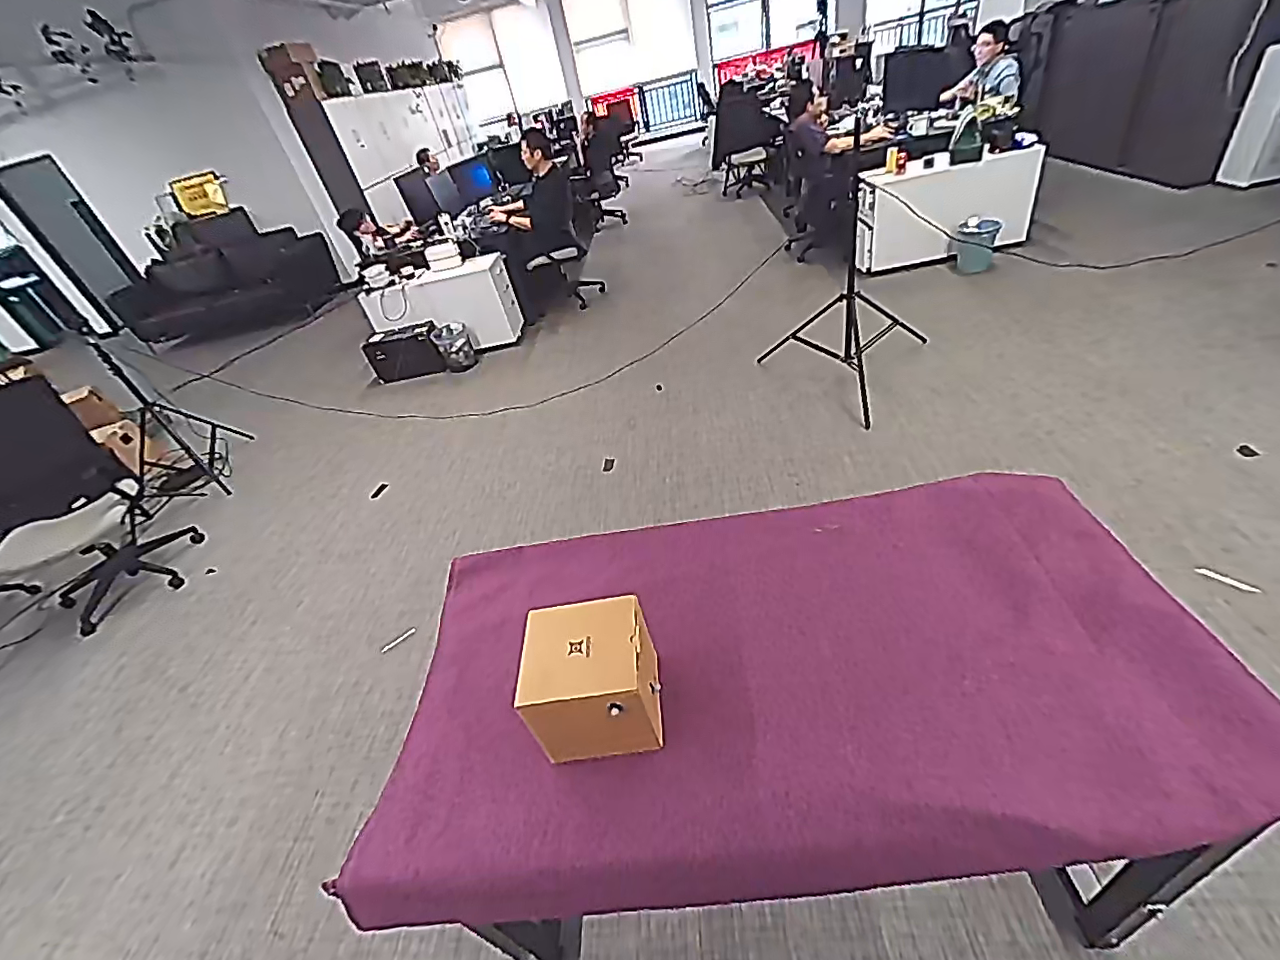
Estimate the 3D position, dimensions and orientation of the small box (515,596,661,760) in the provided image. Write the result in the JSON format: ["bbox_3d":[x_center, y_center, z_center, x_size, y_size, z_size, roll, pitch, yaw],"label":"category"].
[{"bbox_3d":[-0.072,0.307,0.833,0.179,0.176,0.168,-10,37,5],"label":"small box"}]
